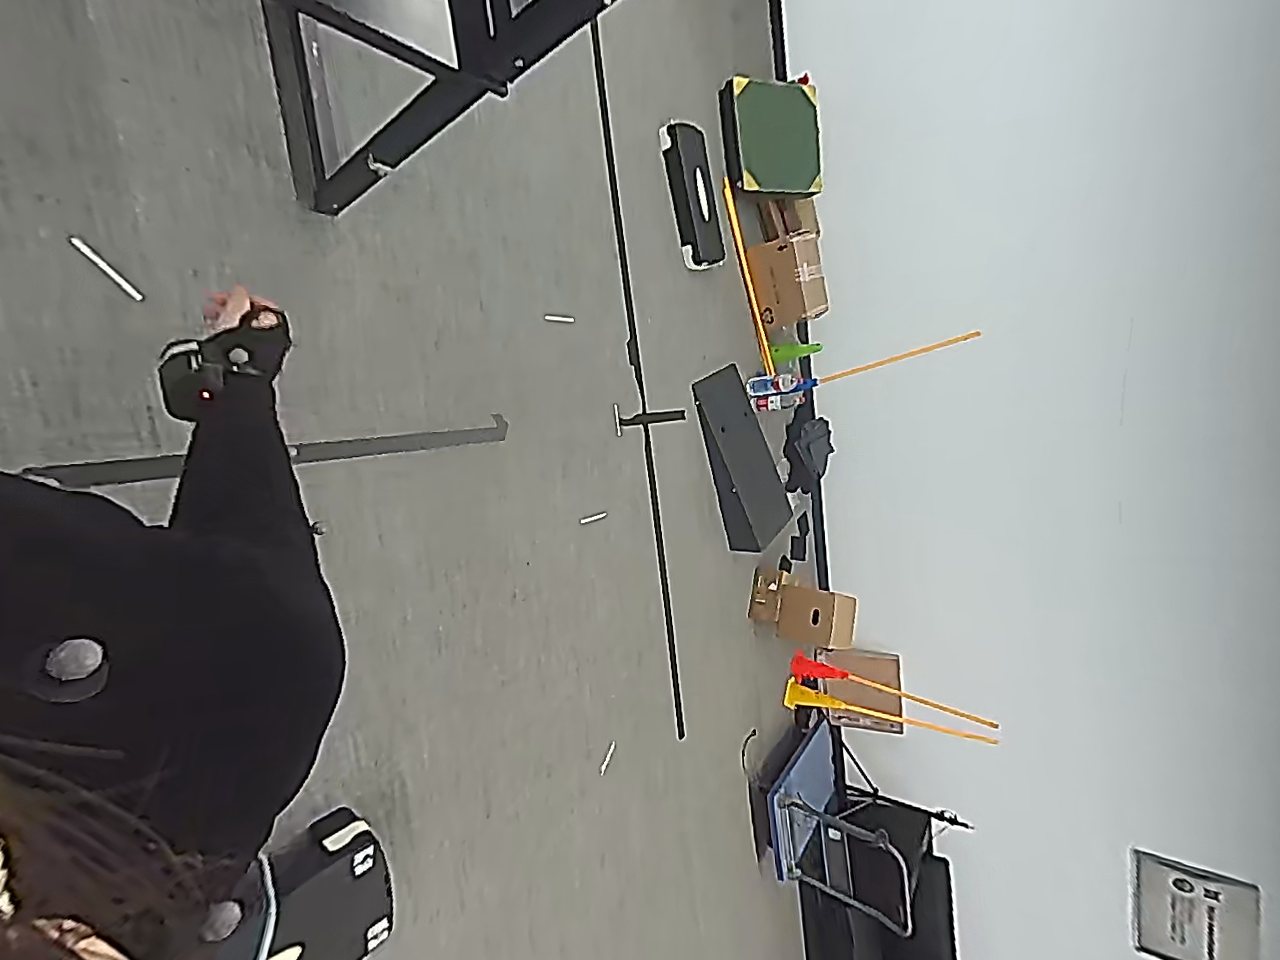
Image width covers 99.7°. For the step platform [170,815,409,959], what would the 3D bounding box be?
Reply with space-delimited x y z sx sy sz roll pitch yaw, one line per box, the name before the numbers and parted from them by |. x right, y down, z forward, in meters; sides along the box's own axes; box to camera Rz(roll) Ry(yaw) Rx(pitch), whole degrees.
step platform | -0.864 1.055 1.176 0.684 0.204 0.286 -6 93 -52
